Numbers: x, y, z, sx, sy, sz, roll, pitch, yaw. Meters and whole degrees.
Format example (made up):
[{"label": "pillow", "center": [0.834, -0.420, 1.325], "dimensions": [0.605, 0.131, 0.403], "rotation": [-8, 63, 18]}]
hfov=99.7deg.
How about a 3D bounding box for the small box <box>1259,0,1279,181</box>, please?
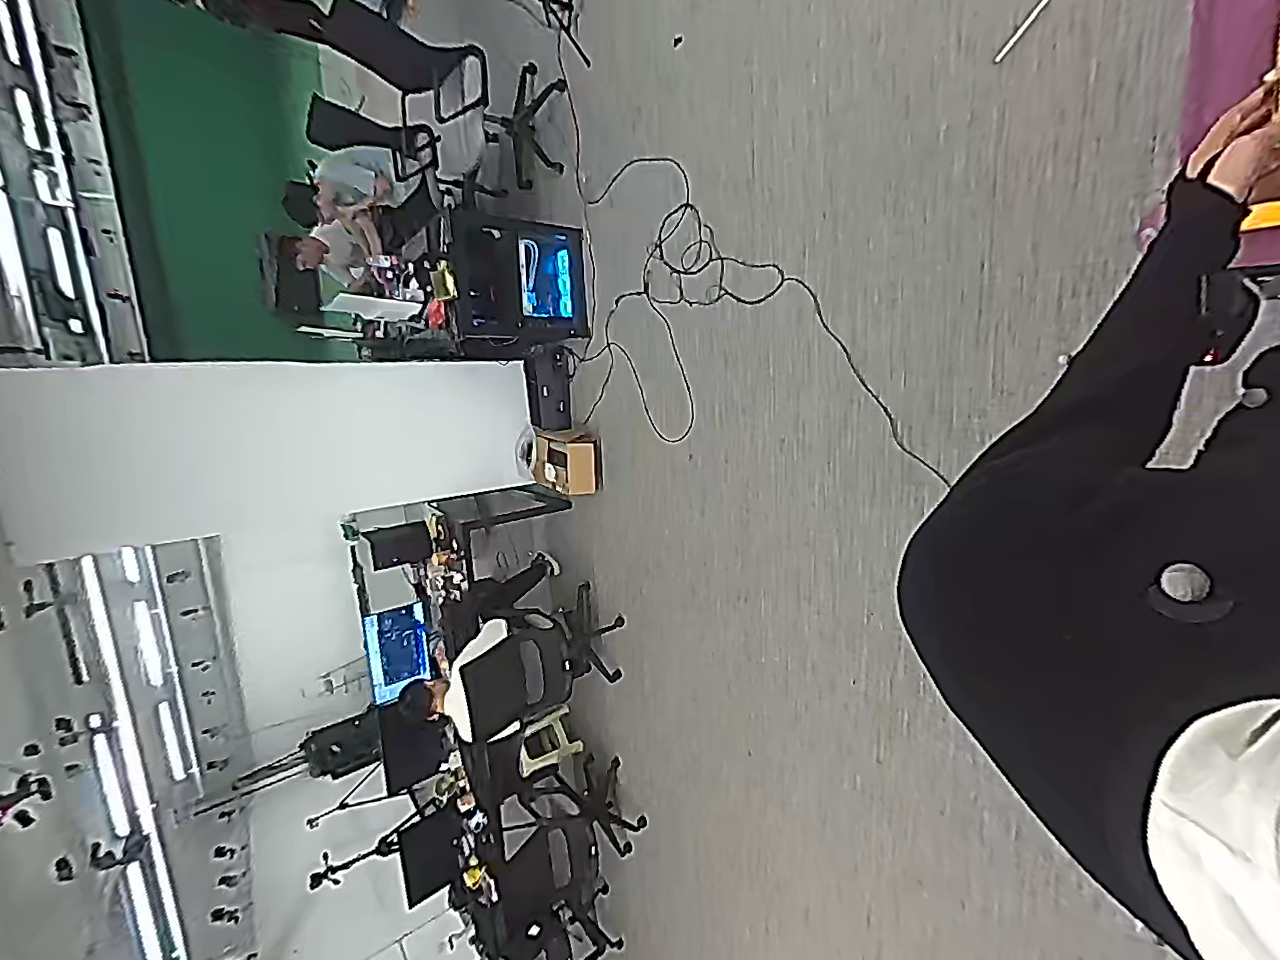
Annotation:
[{"label": "small box", "center": [0.672, -0.379, 0.459], "dimensions": [0.179, 0.176, 0.168], "rotation": [8, 105, 51]}]
